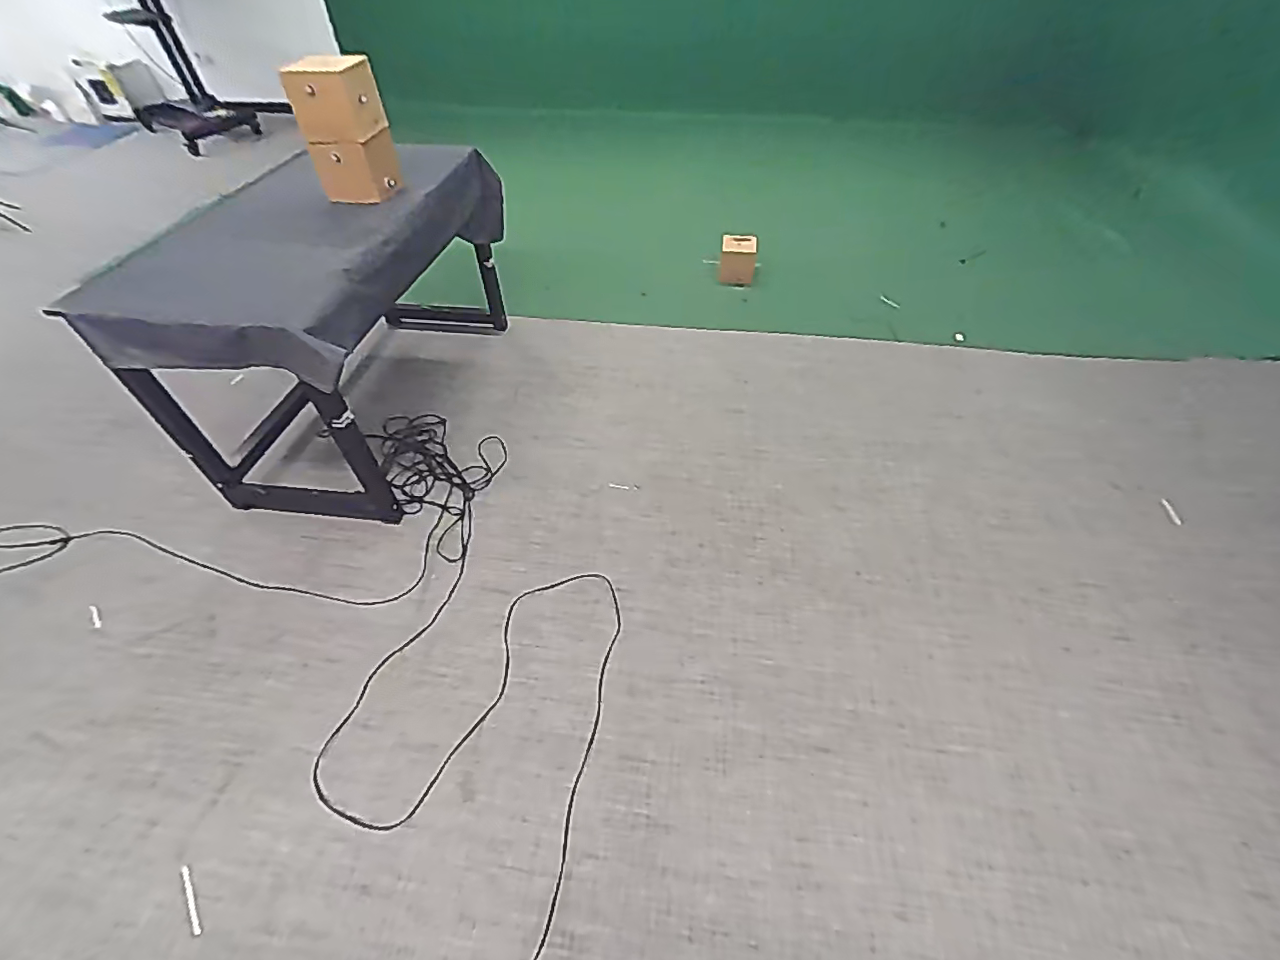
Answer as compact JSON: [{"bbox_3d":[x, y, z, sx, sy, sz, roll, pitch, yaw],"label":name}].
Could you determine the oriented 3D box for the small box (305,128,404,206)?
[{"bbox_3d":[-0.848,-0.943,1.625,0.179,0.176,0.168,6,49,6],"label":"small box"}]

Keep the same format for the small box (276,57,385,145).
[{"bbox_3d":[-0.844,-1.047,1.500,0.179,0.176,0.168,4,49,7],"label":"small box"}]
